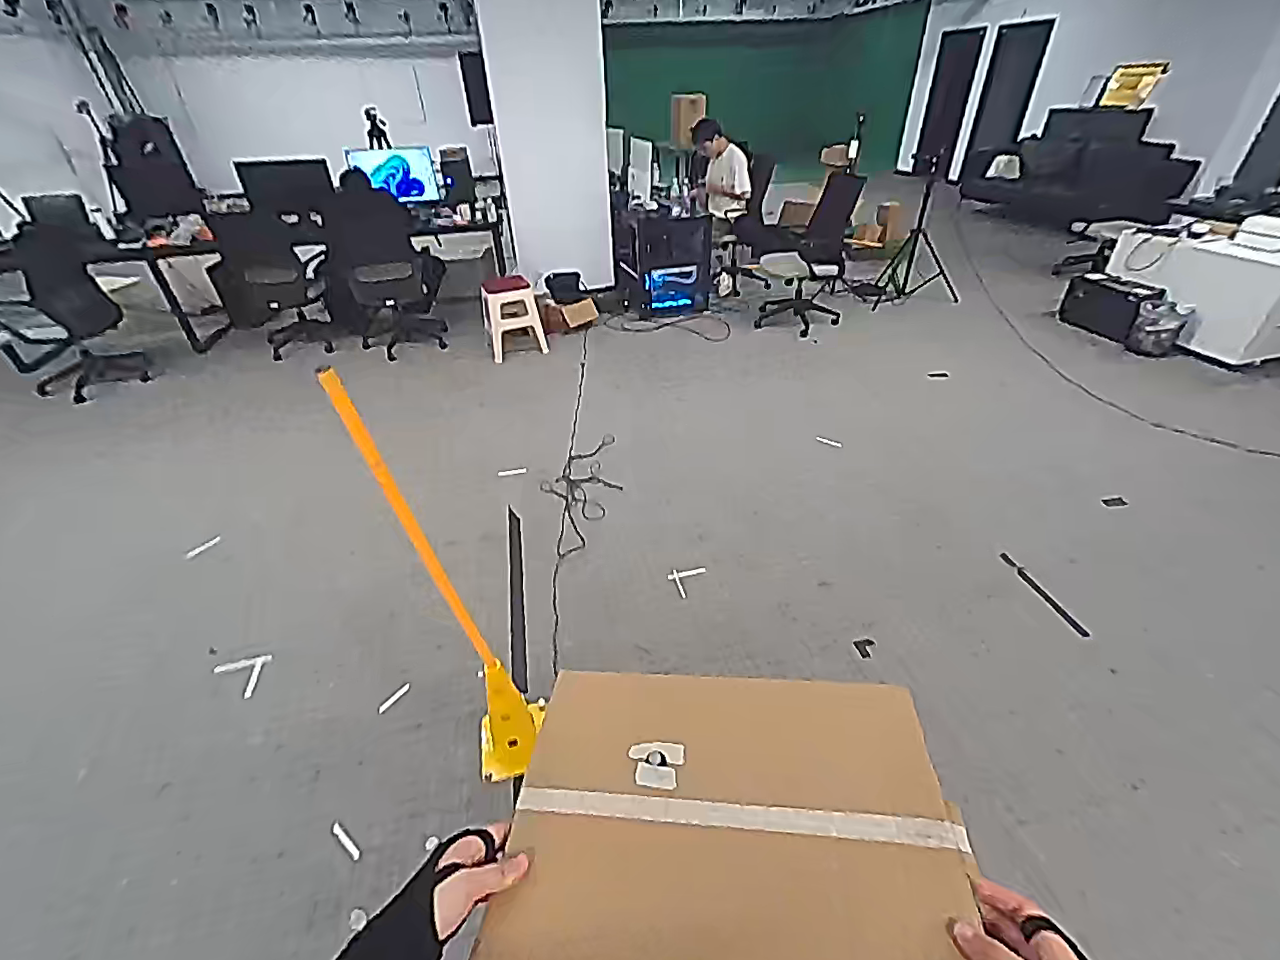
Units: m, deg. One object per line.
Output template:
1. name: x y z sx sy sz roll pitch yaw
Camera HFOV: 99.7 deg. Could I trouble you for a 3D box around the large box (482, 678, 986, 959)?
1. large box: 0.102 0.445 0.597 0.408 0.320 0.320 -3 31 12
